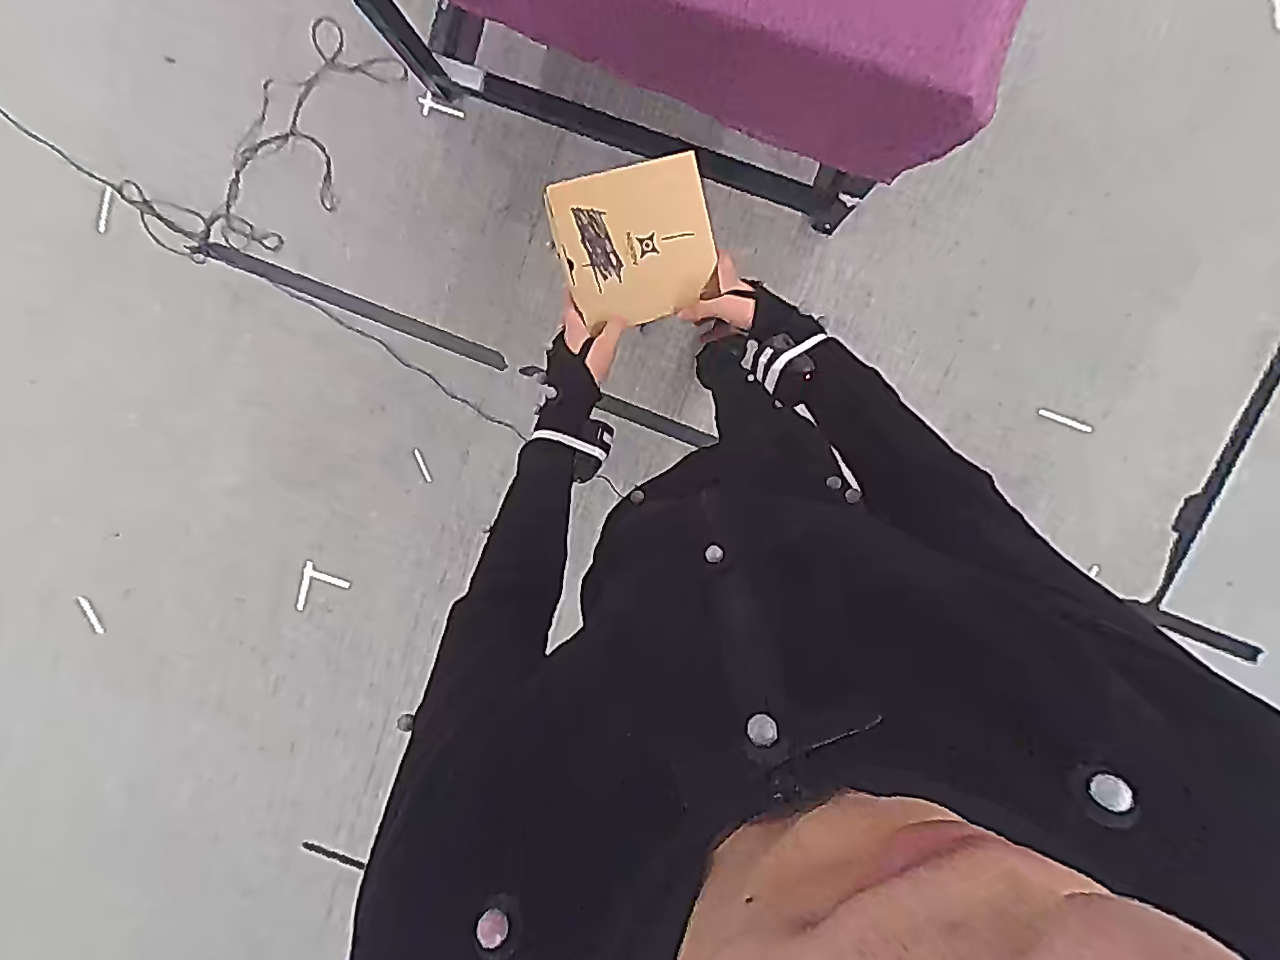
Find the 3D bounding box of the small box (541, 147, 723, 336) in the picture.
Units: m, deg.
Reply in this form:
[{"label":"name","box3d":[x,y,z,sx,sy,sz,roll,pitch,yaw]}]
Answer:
[{"label":"small box","box3d":[-0.014,-0.286,0.688,0.179,0.176,0.168,-17,106,-3]}]
